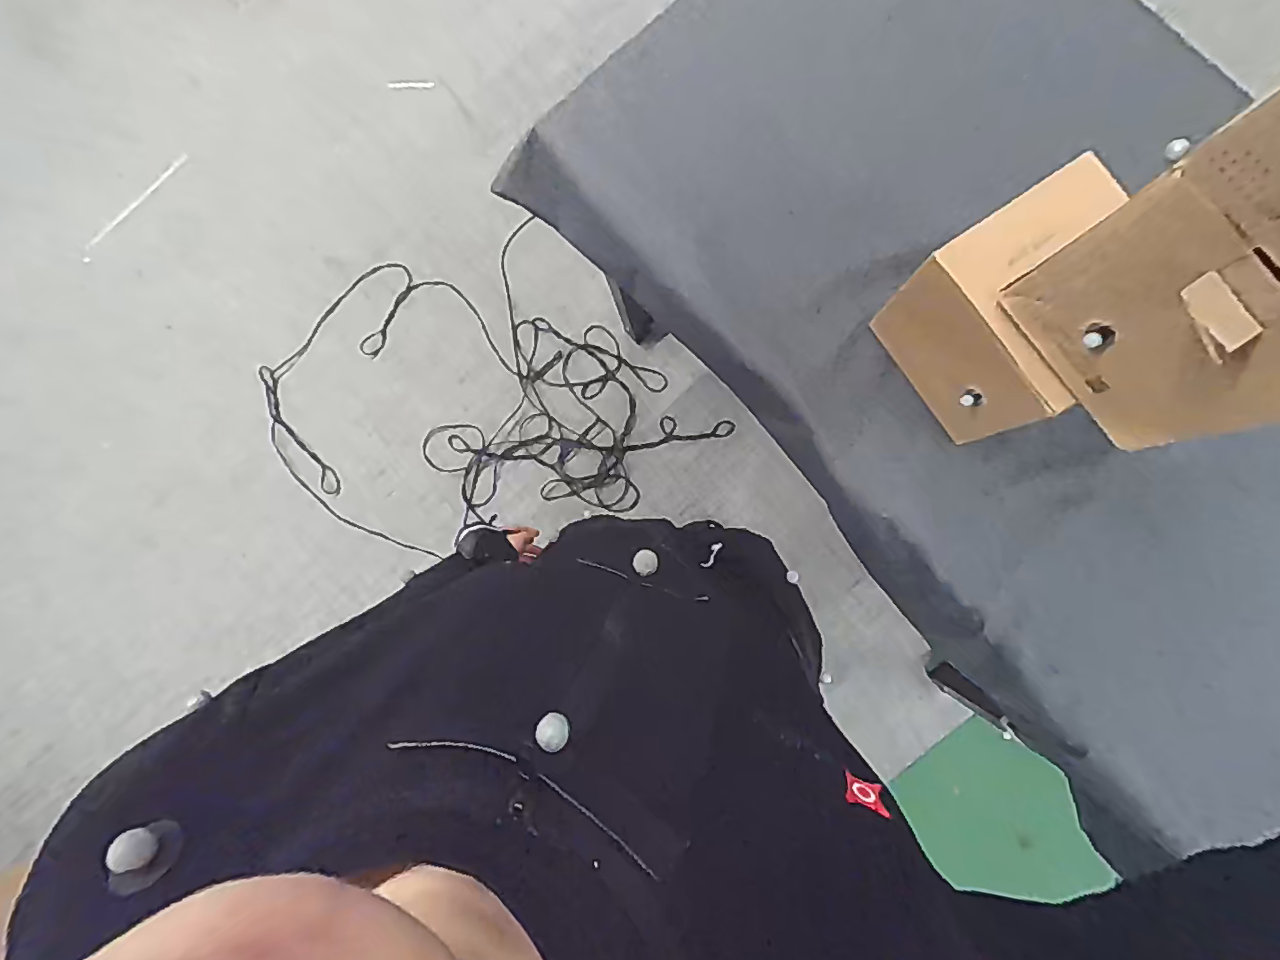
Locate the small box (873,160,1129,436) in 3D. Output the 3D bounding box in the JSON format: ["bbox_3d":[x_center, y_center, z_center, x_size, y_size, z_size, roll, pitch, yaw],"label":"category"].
[{"bbox_3d":[0.373,-0.159,0.542,0.168,0.176,0.179,-33,83,0],"label":"small box"}]

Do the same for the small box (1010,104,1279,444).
[{"bbox_3d":[0.417,-0.145,0.373,0.179,0.176,0.168,-35,85,-1],"label":"small box"}]

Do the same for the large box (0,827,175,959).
[{"bbox_3d":[-1.446,1.154,1.277,0.320,0.320,0.408,-41,82,1],"label":"large box"}]
